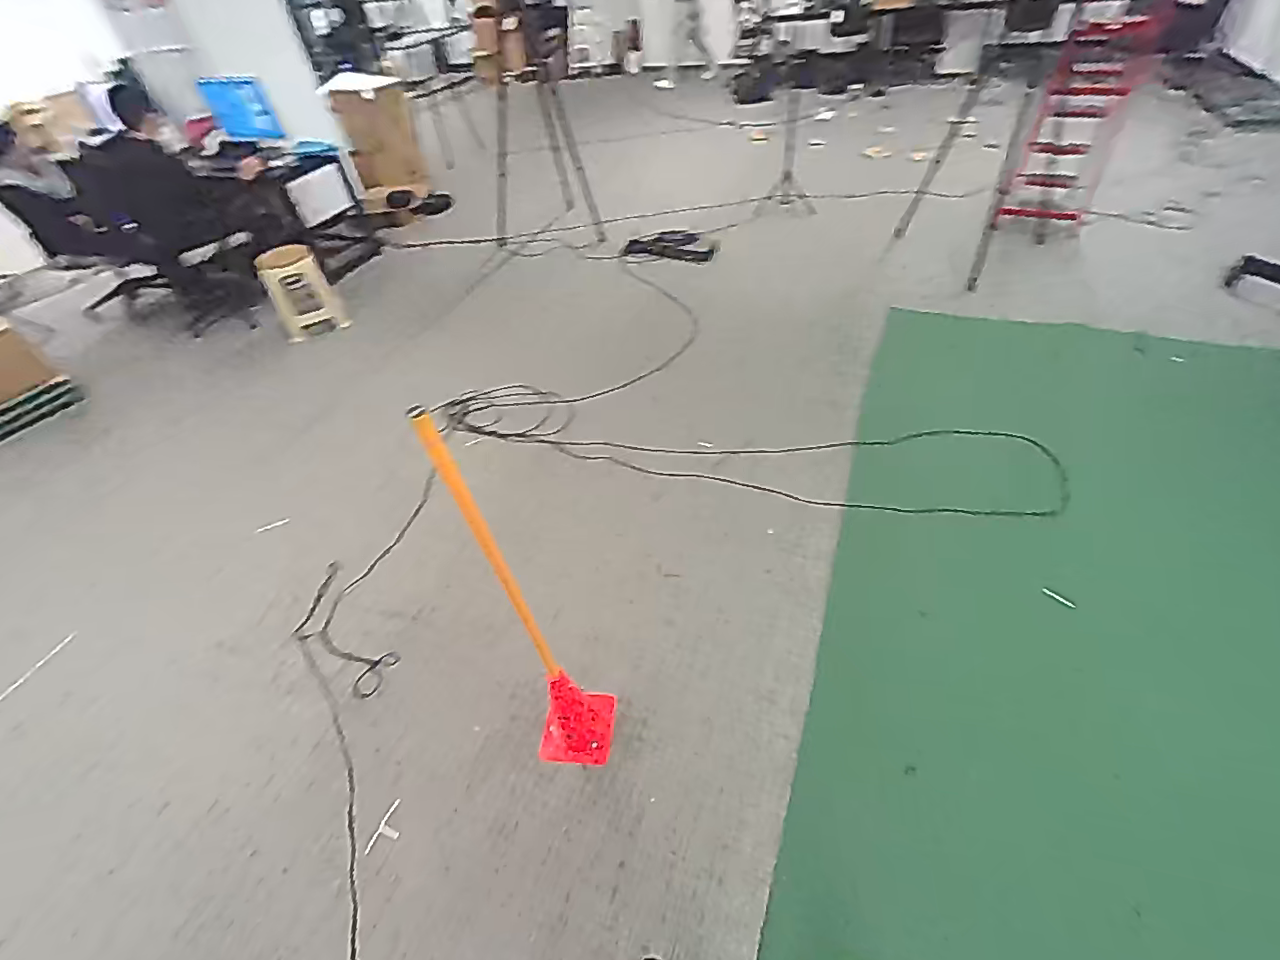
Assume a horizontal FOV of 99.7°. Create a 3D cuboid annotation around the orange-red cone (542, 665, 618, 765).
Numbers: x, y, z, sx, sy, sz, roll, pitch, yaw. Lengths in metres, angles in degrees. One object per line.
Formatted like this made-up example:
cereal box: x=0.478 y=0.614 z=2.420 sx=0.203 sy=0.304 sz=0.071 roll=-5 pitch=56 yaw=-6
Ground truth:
orange-red cone: x=-0.186 y=0.593 z=1.455 sx=0.198 sy=0.360 sz=0.199 roll=2 pitch=45 yaw=8
